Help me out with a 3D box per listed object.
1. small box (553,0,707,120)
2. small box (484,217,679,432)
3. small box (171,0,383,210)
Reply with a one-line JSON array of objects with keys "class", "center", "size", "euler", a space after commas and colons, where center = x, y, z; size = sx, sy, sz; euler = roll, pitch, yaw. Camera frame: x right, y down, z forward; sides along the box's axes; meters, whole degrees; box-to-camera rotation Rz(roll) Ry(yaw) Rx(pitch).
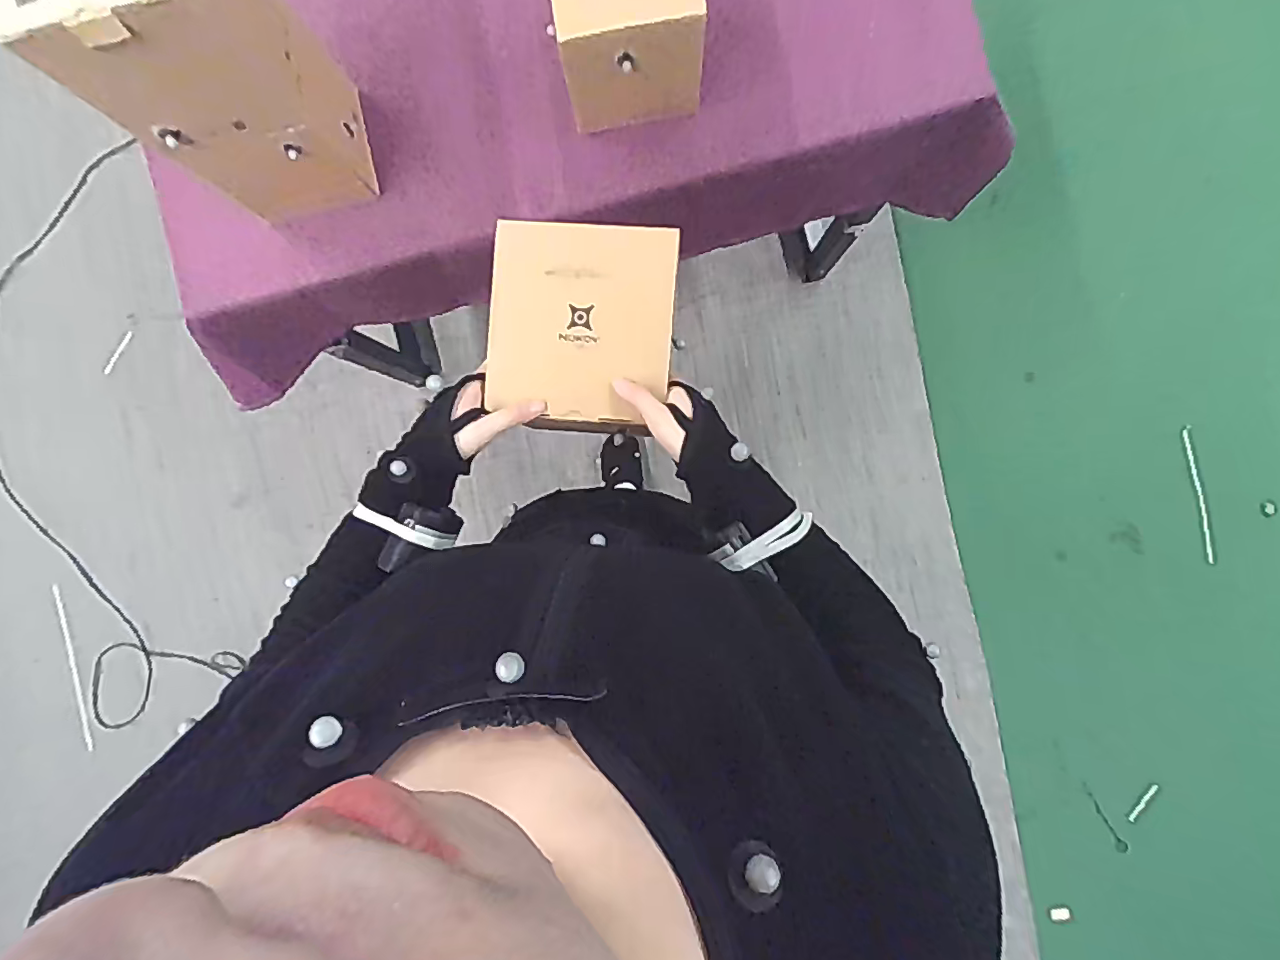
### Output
[{"class": "small box", "center": [-0.014, -0.601, 0.694], "size": [0.179, 0.176, 0.168], "euler": [-8, 90, 3]}, {"class": "small box", "center": [-0.049, -0.146, 0.565], "size": [0.168, 0.176, 0.179], "euler": [5, 91, 4]}, {"class": "small box", "center": [-0.478, -0.489, 0.717], "size": [0.179, 0.176, 0.168], "euler": [-12, 89, 2]}]
